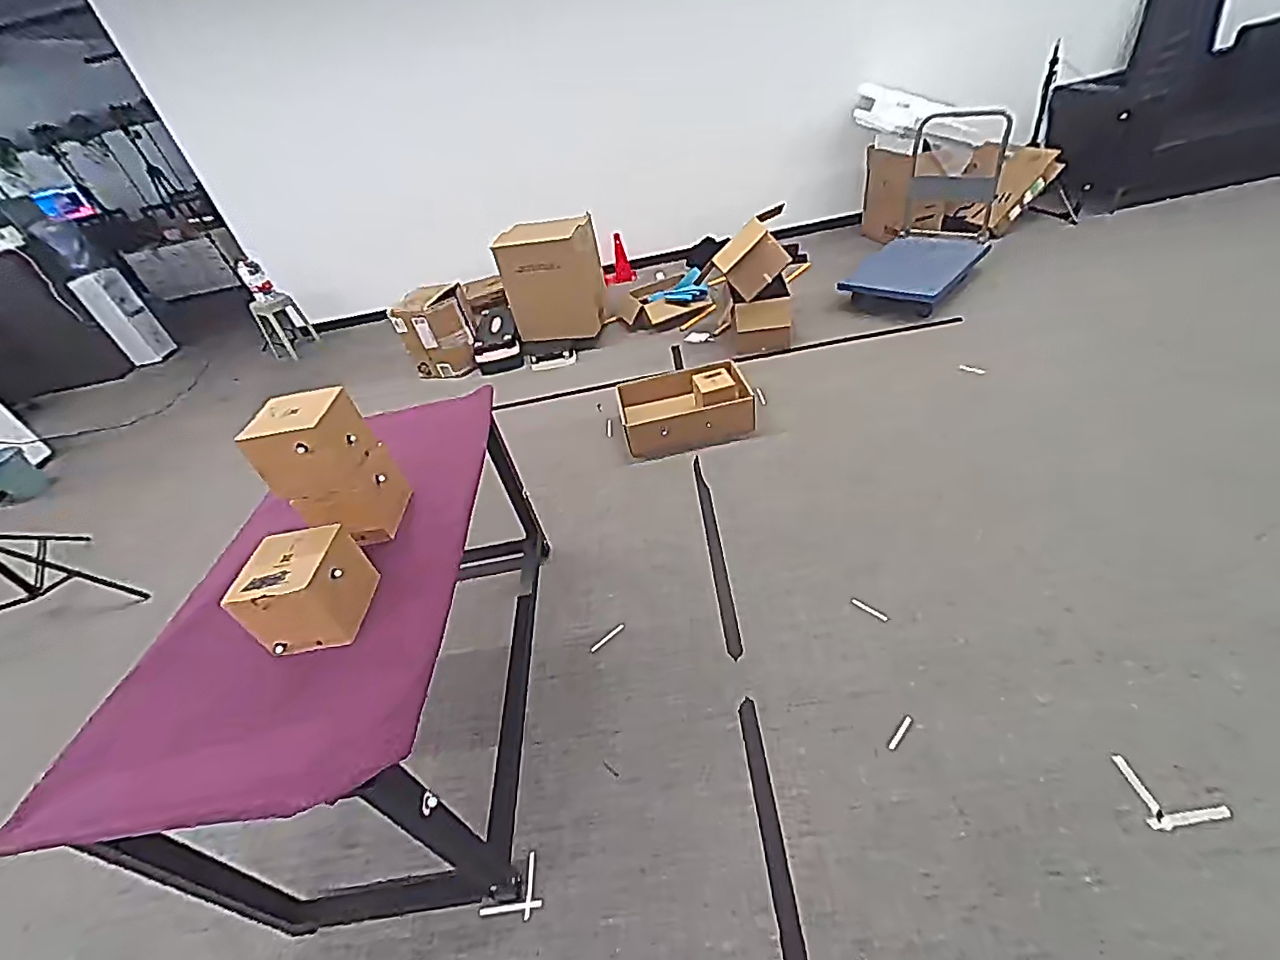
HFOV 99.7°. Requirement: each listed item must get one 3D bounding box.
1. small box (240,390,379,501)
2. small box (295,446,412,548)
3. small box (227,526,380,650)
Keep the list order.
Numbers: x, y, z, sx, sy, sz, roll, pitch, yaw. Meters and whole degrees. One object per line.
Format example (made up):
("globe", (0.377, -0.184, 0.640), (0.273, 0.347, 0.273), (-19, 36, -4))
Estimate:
("small box", (-0.714, -0.074, 1.195), (0.179, 0.176, 0.168), (-10, 39, 5))
("small box", (-0.677, 0.045, 1.303), (0.168, 0.176, 0.179), (-10, 39, 4))
("small box", (-0.653, 0.221, 1.079), (0.168, 0.176, 0.179), (-10, 38, 4))
